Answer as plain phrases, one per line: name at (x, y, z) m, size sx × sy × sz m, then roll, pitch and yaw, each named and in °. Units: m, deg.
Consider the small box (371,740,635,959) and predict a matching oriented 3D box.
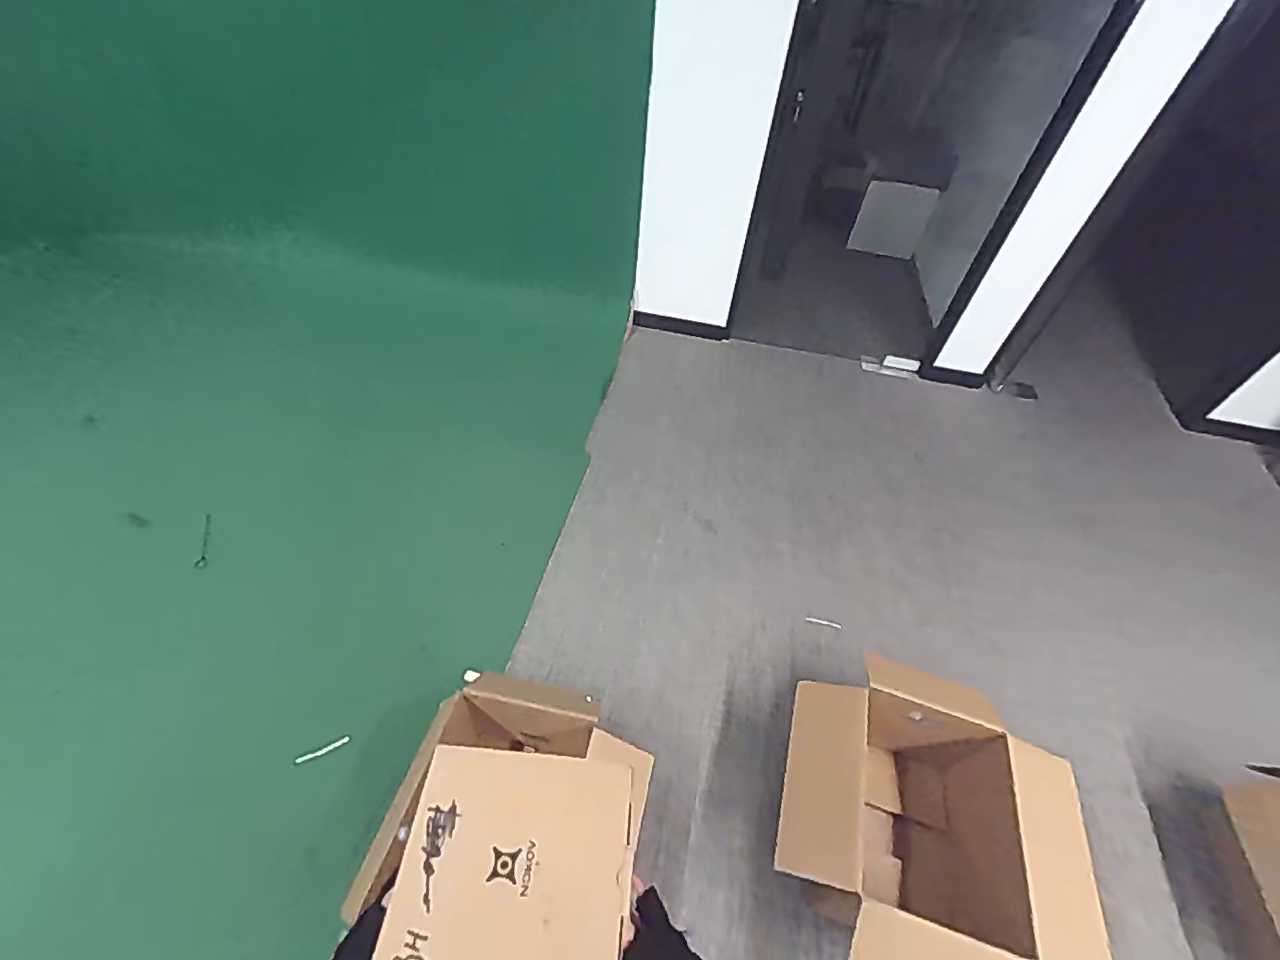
small box at (-0.107, 0.354, 0.484) m, size 0.179 × 0.176 × 0.168 m, roll 8°, pitch 47°, yaw -2°
